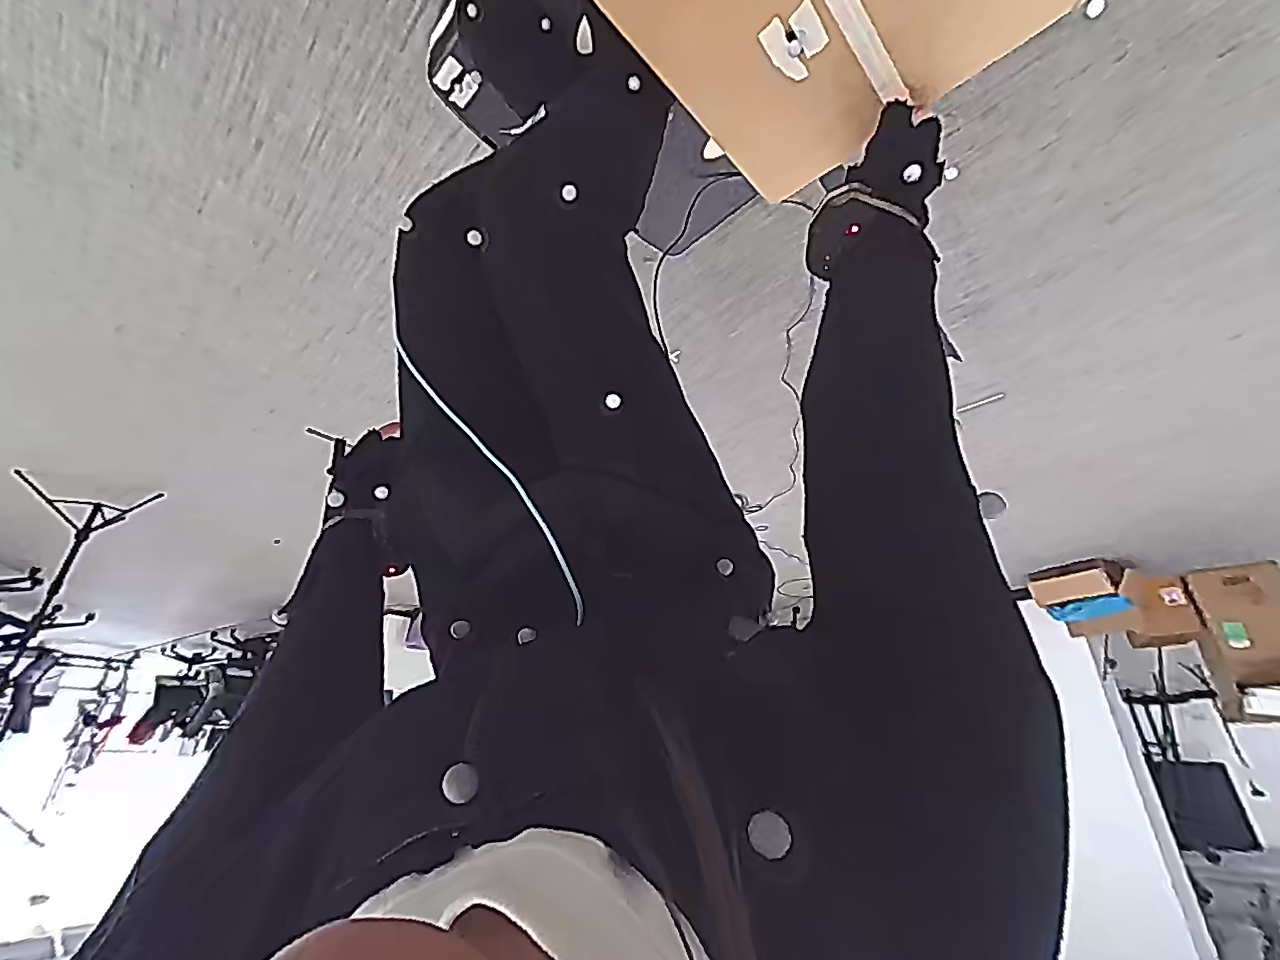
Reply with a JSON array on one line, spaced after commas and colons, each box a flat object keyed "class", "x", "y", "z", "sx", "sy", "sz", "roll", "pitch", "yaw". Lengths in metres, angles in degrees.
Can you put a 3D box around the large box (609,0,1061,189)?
[{"class": "large box", "x": 0.135, "y": -0.572, "z": 0.467, "sx": 0.408, "sy": 0.320, "sz": 0.320, "roll": 23, "pitch": 152, "yaw": -39}]
